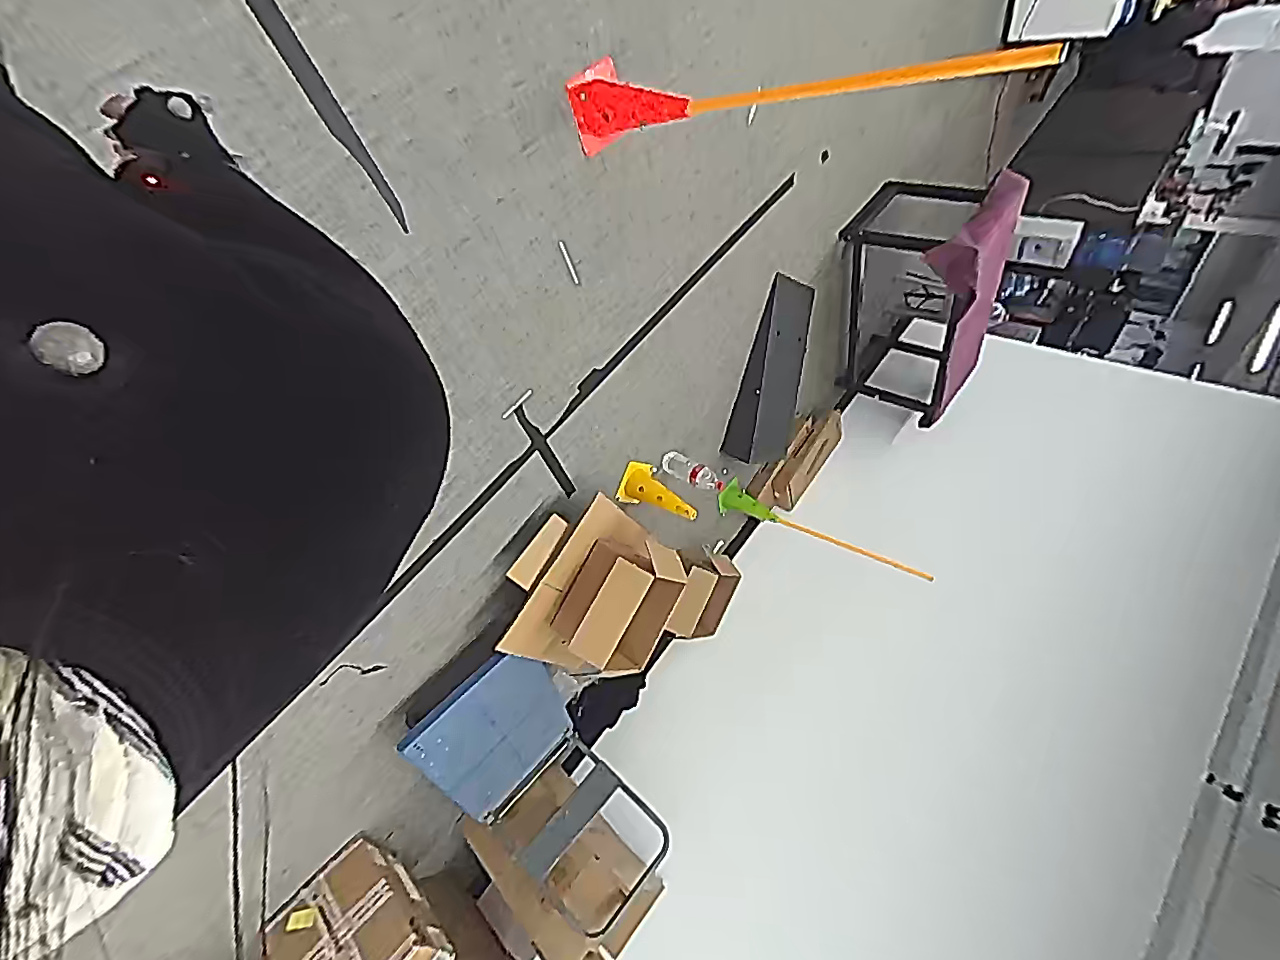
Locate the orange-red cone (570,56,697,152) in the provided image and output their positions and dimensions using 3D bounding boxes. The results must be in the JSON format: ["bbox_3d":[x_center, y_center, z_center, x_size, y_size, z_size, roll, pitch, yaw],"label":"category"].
[{"bbox_3d":[0.009,-1.041,1.503,0.198,0.360,0.199,-46,144,-21],"label":"orange-red cone"}]
